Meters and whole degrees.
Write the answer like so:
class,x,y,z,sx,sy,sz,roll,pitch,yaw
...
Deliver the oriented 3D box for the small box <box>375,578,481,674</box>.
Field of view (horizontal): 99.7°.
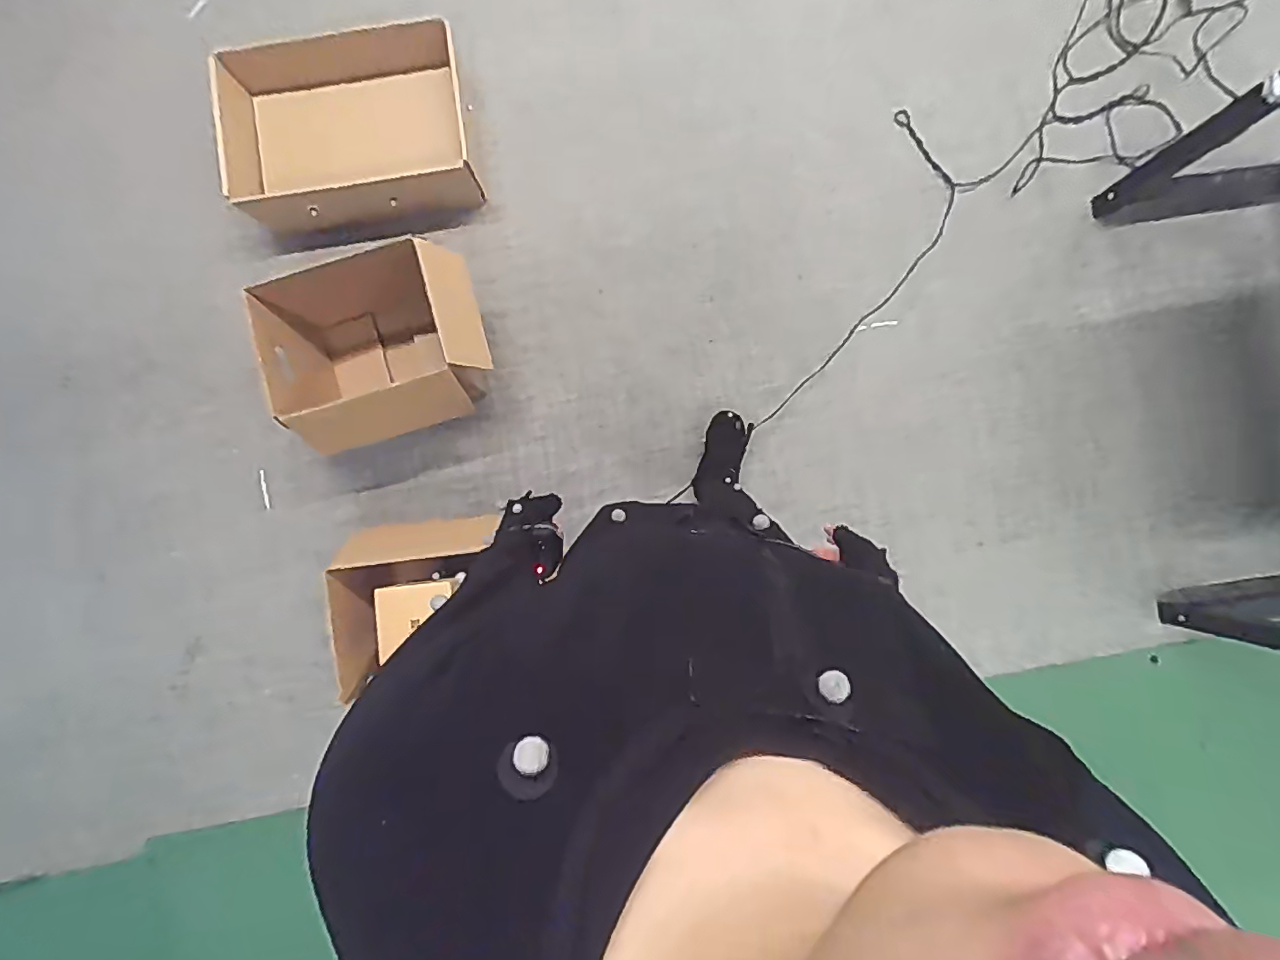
class,x,y,z,sx,sy,sz,roll,pitch,yaw
small box,-0.465,0.316,1.206,0.168,0.176,0.179,-7,86,1
